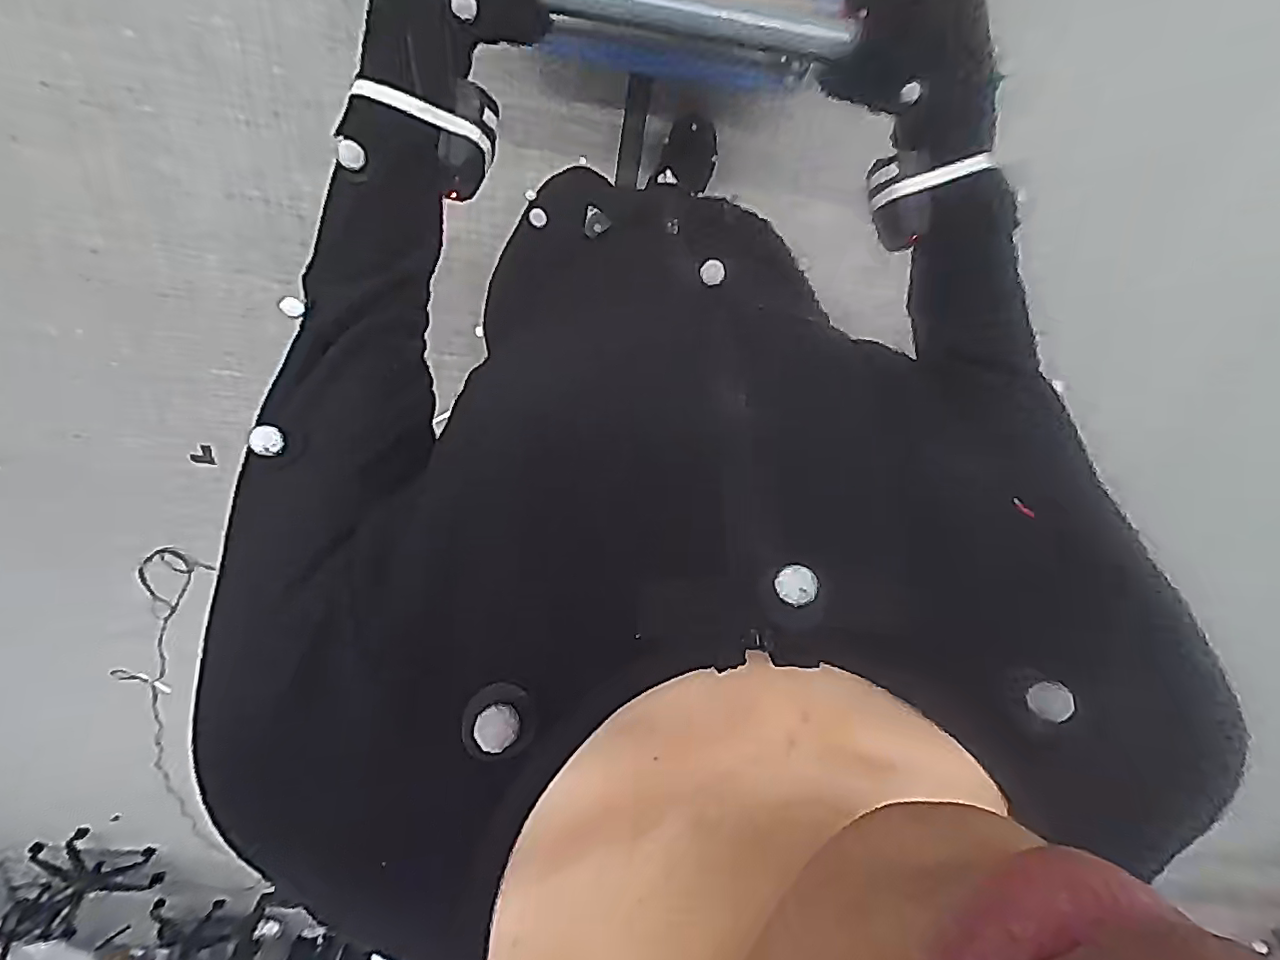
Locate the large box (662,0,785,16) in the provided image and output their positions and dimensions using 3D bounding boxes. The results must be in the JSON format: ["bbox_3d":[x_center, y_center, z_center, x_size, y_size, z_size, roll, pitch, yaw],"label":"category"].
[{"bbox_3d":[0.041,-0.843,0.690,0.408,0.320,0.320,5,124,-6],"label":"large box"}]
